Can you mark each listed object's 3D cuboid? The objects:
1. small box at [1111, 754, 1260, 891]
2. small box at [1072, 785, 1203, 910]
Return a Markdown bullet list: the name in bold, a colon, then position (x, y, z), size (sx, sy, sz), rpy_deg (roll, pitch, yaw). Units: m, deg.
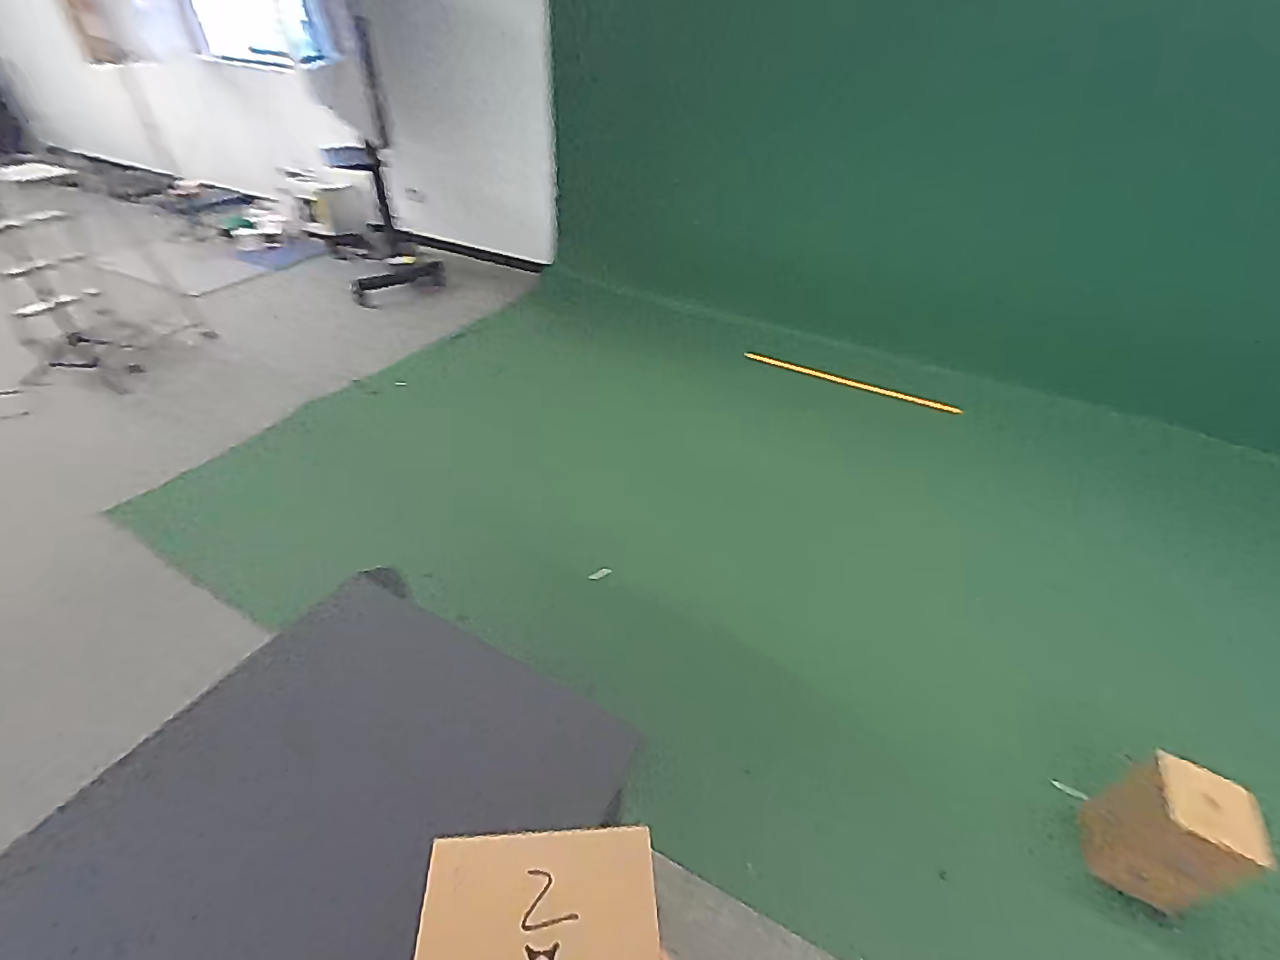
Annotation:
- **small box**: position (1.208, 0.771, 1.219), size (0.168, 0.176, 0.179), rpy_deg (22, 42, 20)
- **small box**: position (1.200, 0.900, 1.322), size (0.168, 0.176, 0.179), rpy_deg (20, 41, 18)
